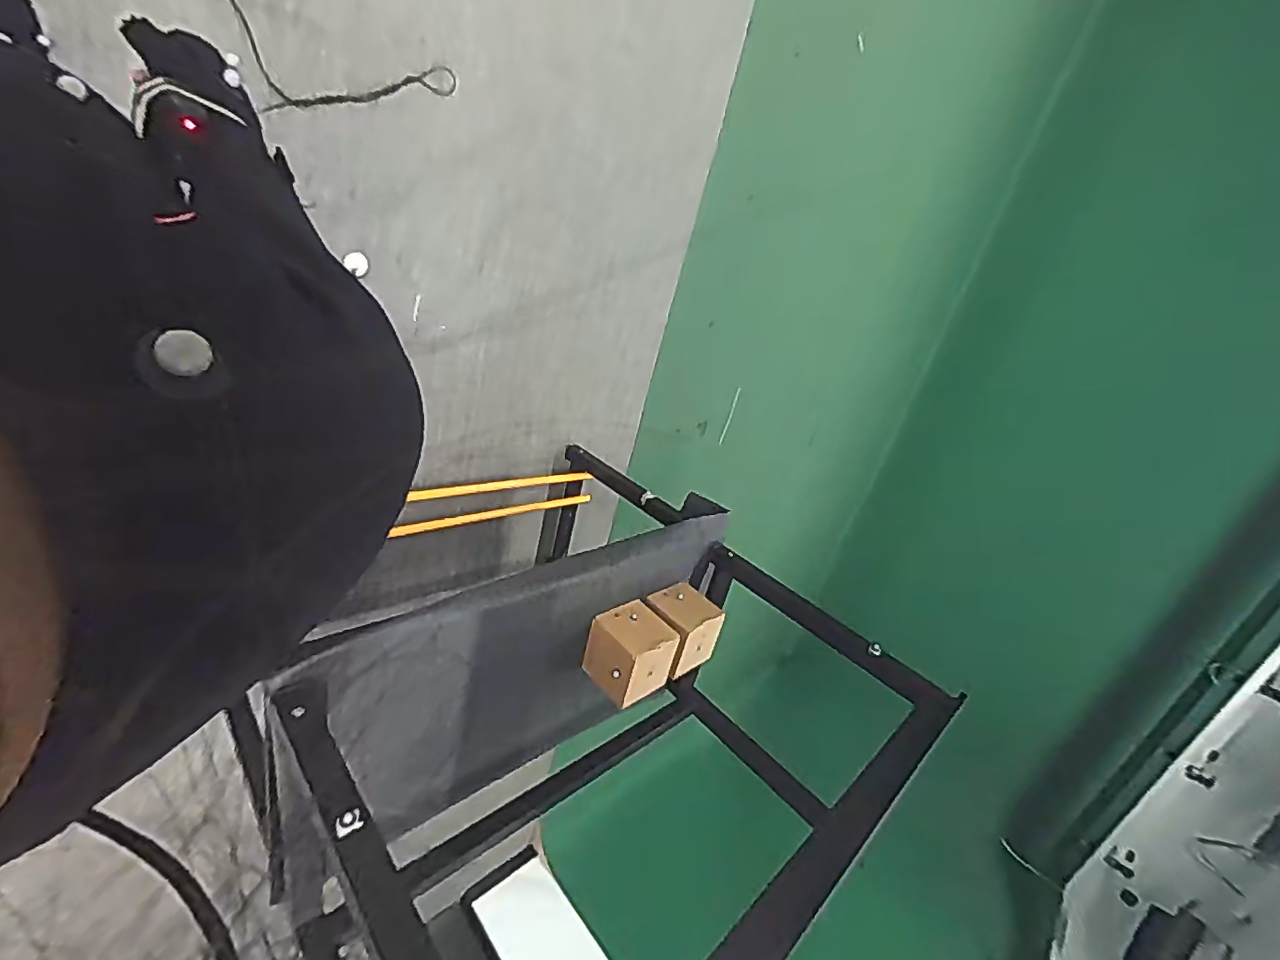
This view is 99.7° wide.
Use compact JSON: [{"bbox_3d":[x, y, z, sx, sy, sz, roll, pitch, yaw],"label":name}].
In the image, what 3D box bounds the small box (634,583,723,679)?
[{"bbox_3d":[0.104,0.426,1.549,0.168,0.176,0.179,-11,125,-44],"label":"small box"}]
